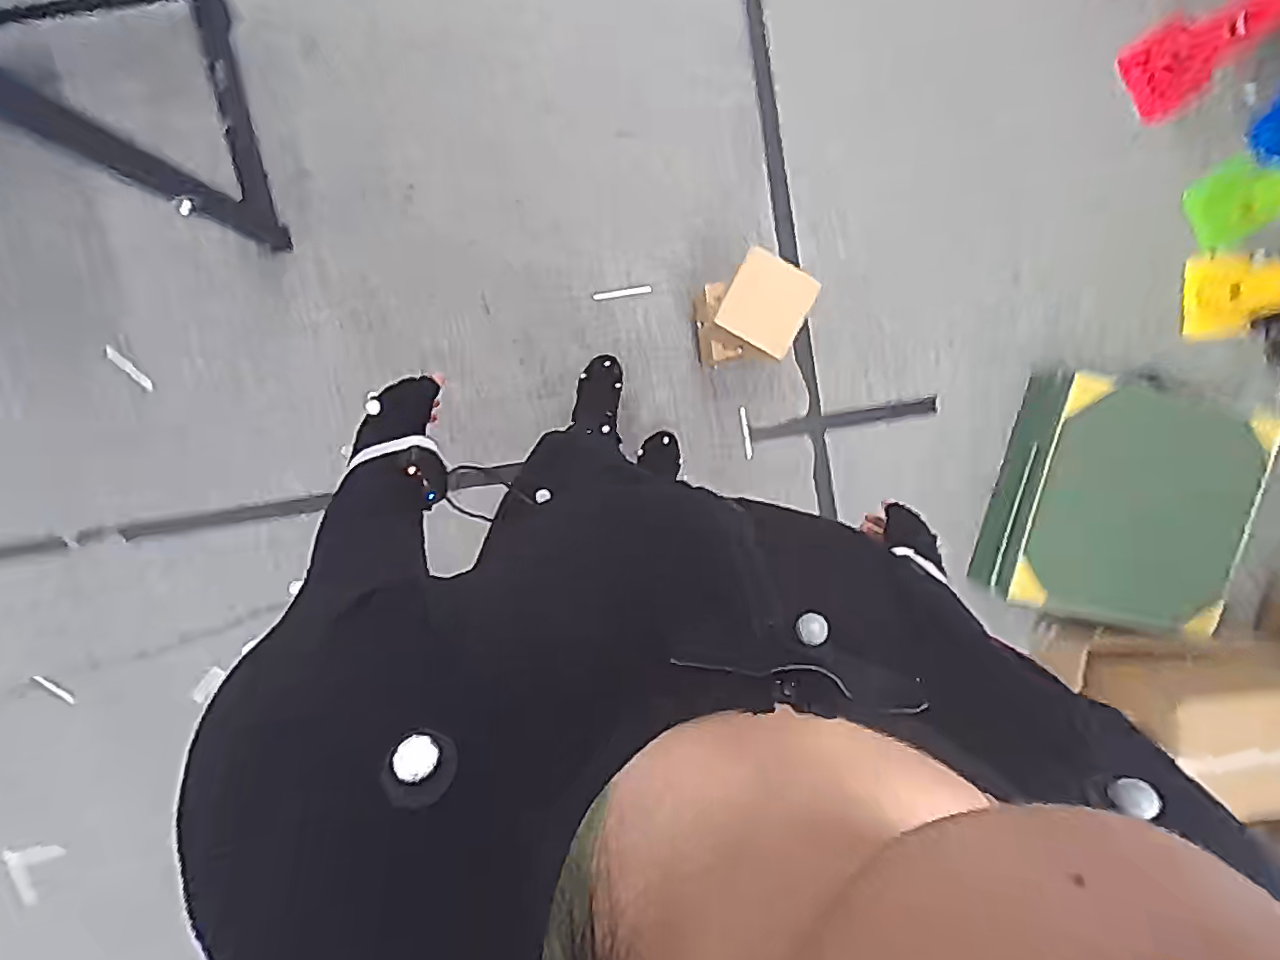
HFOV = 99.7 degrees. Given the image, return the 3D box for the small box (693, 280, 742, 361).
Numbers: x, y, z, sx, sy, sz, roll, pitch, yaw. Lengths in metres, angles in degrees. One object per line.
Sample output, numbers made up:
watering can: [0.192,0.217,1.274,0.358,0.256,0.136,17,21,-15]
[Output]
small box: [0.234,-0.398,1.360,0.168,0.176,0.179,-8,97,-3]

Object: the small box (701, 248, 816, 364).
small box: [0.255,-0.378,1.194,0.168,0.176,0.179,27,95,-7]
